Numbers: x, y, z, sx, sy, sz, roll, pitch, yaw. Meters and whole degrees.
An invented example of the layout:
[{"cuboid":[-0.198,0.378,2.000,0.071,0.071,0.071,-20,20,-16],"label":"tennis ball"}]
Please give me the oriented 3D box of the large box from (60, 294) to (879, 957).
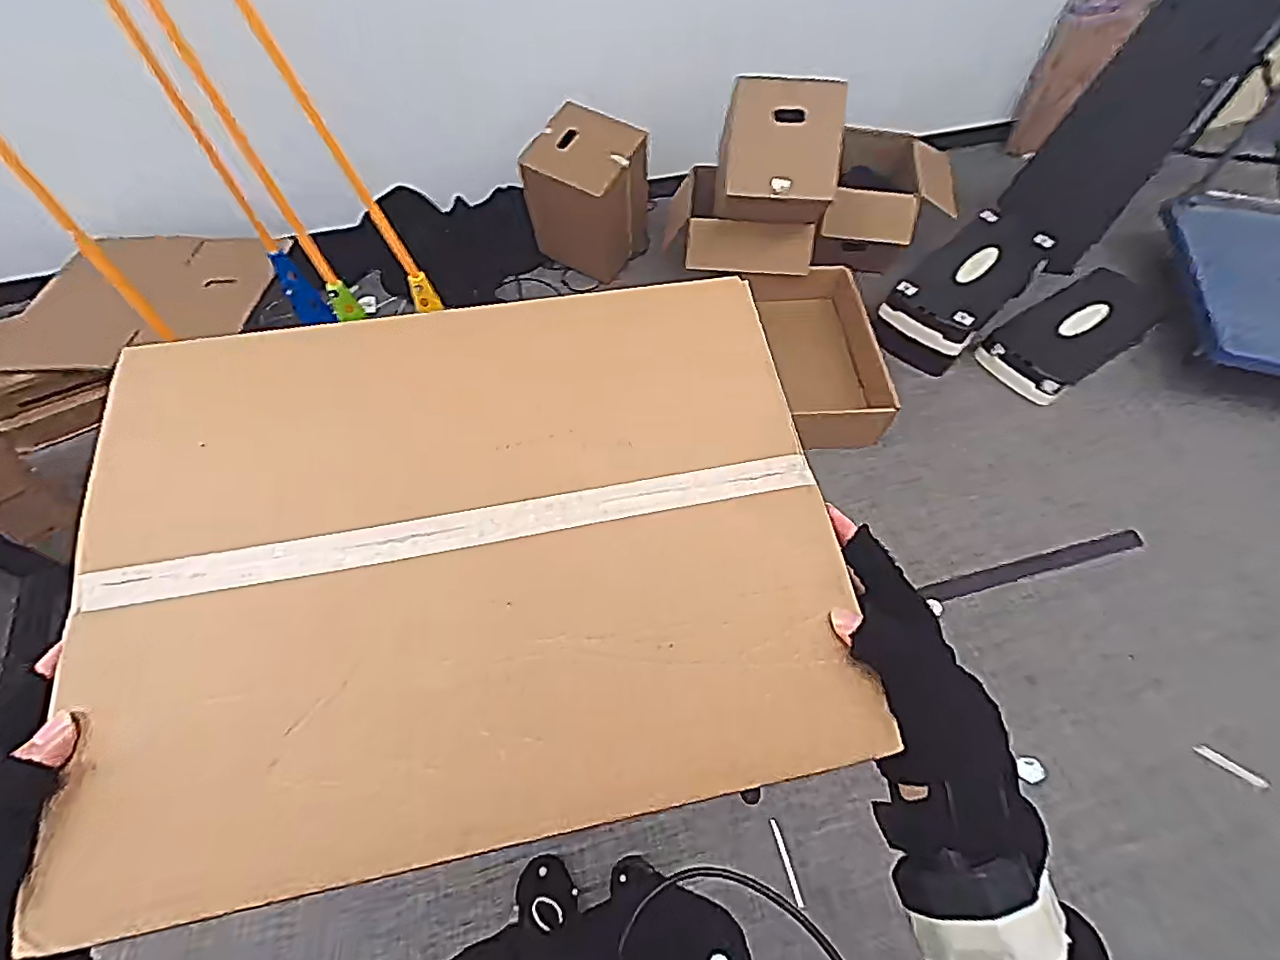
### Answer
[{"cuboid":[-0.099,0.091,0.452,0.408,0.320,0.320,-9,68,-6],"label":"large box"}]
